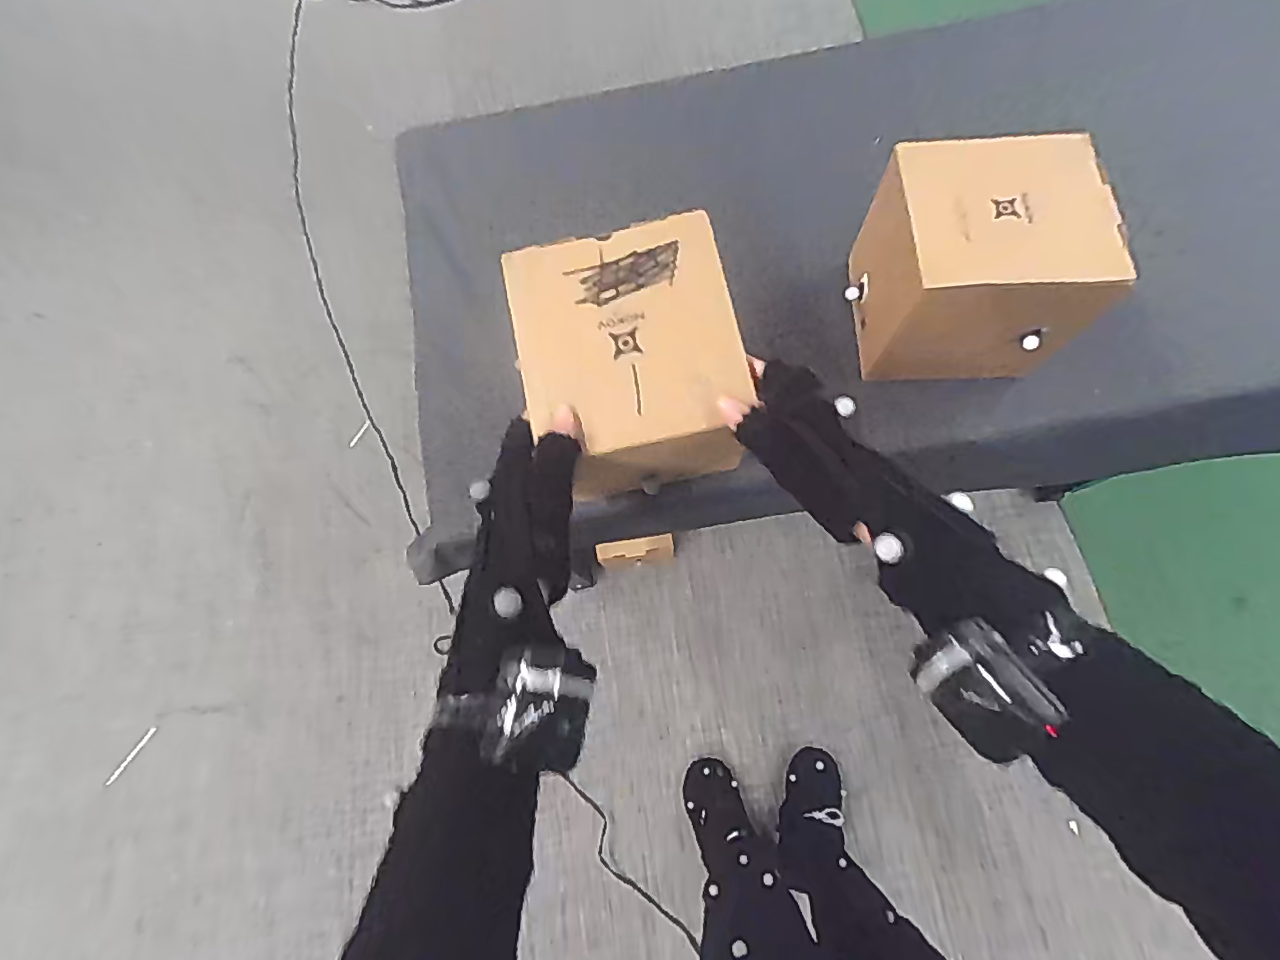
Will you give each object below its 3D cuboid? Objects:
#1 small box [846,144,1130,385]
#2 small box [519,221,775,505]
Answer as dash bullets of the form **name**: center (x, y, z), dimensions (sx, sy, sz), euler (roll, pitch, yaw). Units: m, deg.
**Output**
- **small box**: center (0.335, -0.211, 0.563), dimensions (0.179, 0.176, 0.168), euler (-2, 71, 4)
- **small box**: center (0.004, -0.087, 0.479), dimensions (0.168, 0.176, 0.179), euler (-12, 79, 1)
